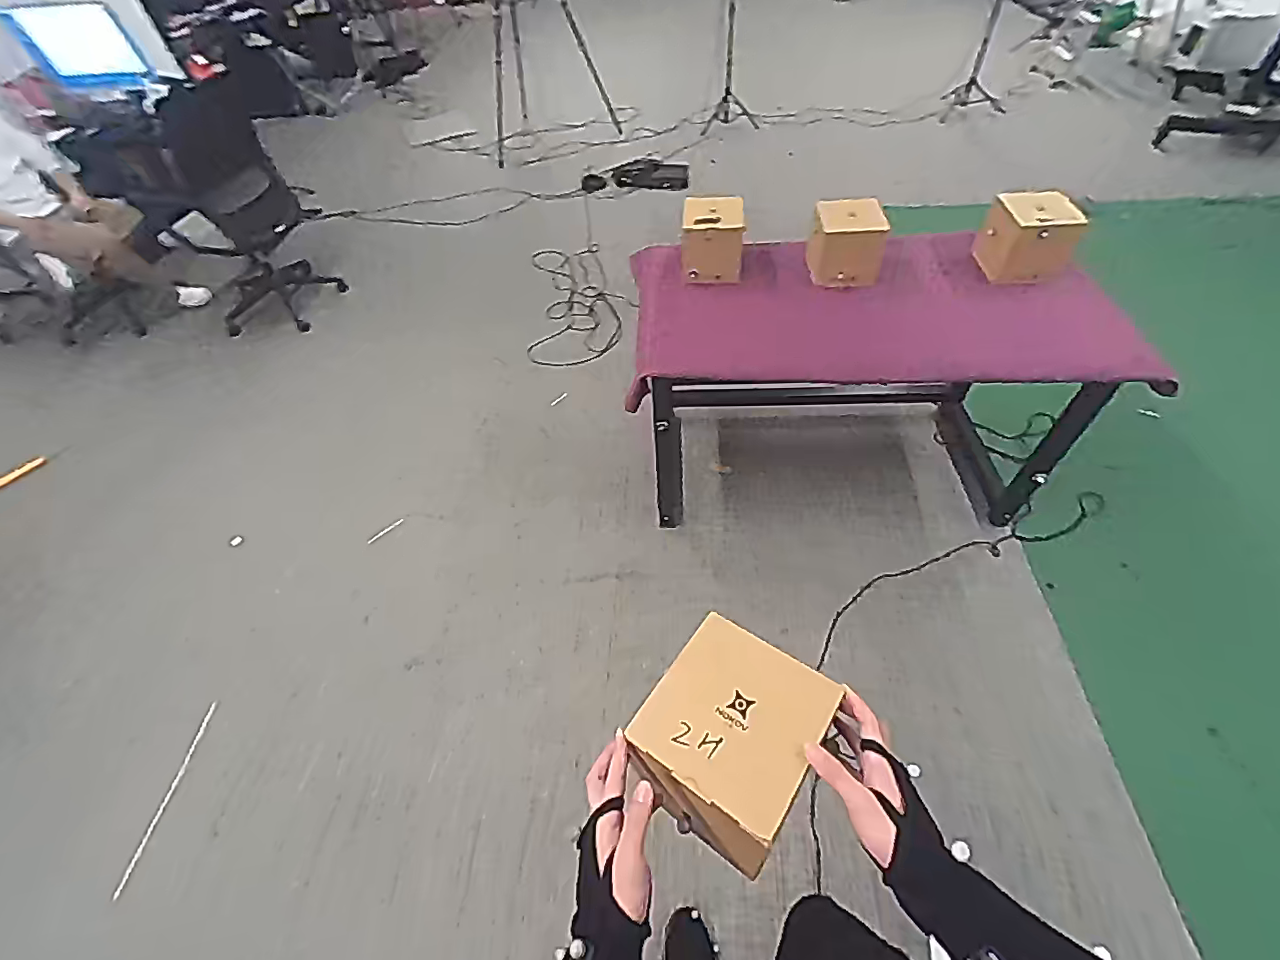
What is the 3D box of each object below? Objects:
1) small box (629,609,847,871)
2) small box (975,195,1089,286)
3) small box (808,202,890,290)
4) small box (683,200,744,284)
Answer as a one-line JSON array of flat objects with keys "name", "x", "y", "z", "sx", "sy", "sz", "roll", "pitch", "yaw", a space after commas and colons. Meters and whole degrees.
[{"name": "small box", "x": 0.106, "y": 0.289, "z": 0.610, "sx": 0.168, "sy": 0.176, "sz": 0.179, "roll": 26, "pitch": 52, "yaw": 29}, {"name": "small box", "x": 1.046, "y": -0.646, "z": 1.464, "sx": 0.168, "sy": 0.176, "sz": 0.179, "roll": -1, "pitch": 51, "yaw": 5}, {"name": "small box", "x": 0.576, "y": -0.655, "z": 1.514, "sx": 0.168, "sy": 0.176, "sz": 0.179, "roll": 0, "pitch": 52, "yaw": 6}, {"name": "small box", "x": 0.213, "y": -0.686, "z": 1.565, "sx": 0.168, "sy": 0.176, "sz": 0.179, "roll": 2, "pitch": 52, "yaw": 6}]
